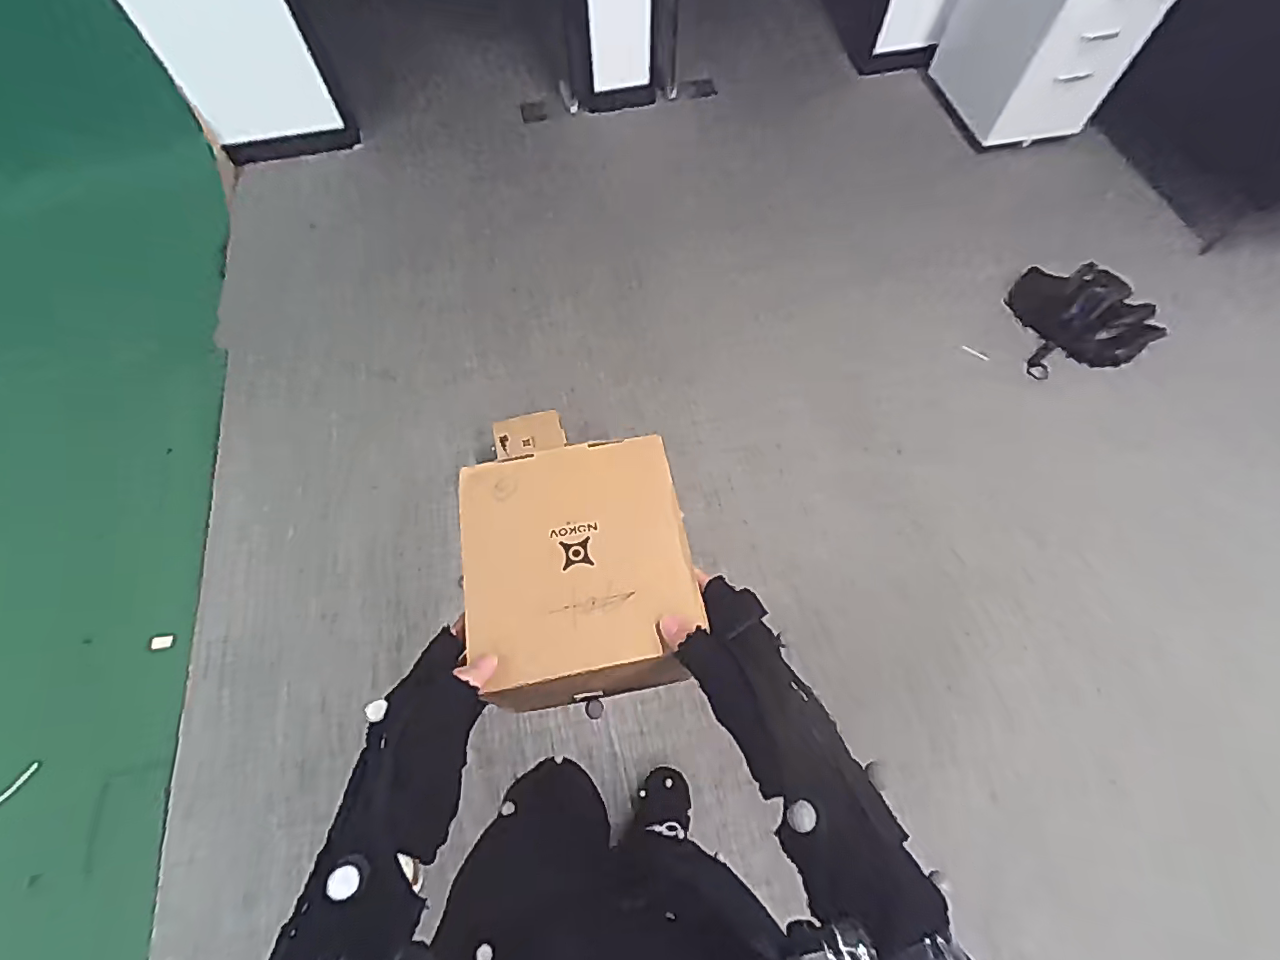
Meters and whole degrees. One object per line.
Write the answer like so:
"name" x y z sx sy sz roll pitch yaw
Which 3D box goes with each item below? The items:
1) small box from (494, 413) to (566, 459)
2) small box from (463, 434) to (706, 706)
"small box" -0.284 -0.056 1.460 0.179 0.176 0.168 -12 65 -6
"small box" -0.050 0.086 0.479 0.168 0.176 0.179 -11 63 -5
